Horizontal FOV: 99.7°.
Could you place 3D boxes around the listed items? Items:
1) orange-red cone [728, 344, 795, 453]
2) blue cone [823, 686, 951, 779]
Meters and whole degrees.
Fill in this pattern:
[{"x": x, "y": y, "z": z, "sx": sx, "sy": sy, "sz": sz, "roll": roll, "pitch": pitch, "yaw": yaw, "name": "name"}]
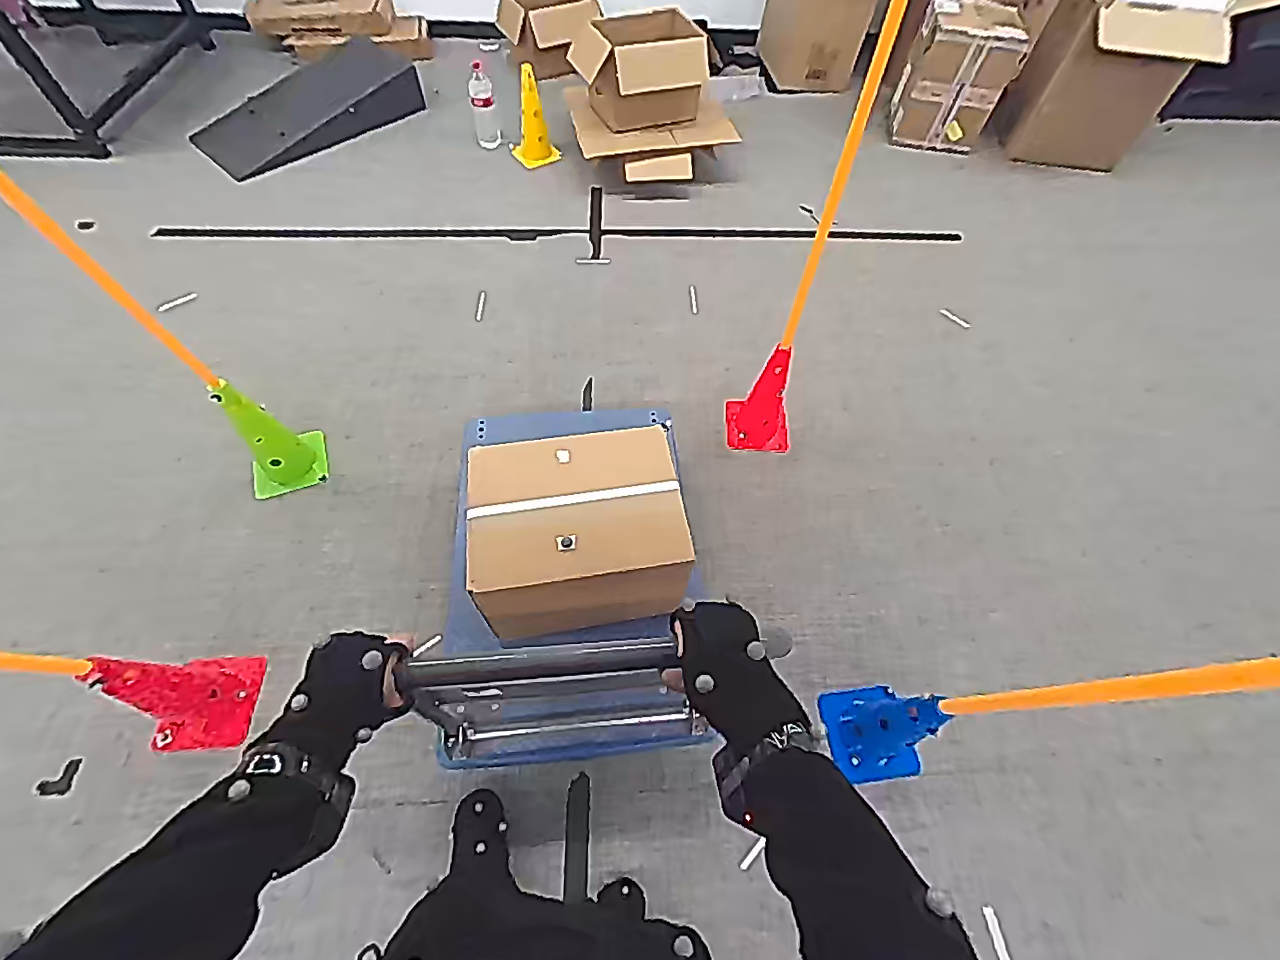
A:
[{"x": 0.393, "y": -0.264, "z": 1.605, "sx": 0.199, "sy": 0.360, "sz": 0.198, "roll": 5, "pitch": 59, "yaw": -1, "name": "orange-red cone"}, {"x": 0.553, "y": 0.510, "z": 1.151, "sx": 0.193, "sy": 0.380, "sz": 0.192, "roll": -4, "pitch": 57, "yaw": -6, "name": "blue cone"}]
